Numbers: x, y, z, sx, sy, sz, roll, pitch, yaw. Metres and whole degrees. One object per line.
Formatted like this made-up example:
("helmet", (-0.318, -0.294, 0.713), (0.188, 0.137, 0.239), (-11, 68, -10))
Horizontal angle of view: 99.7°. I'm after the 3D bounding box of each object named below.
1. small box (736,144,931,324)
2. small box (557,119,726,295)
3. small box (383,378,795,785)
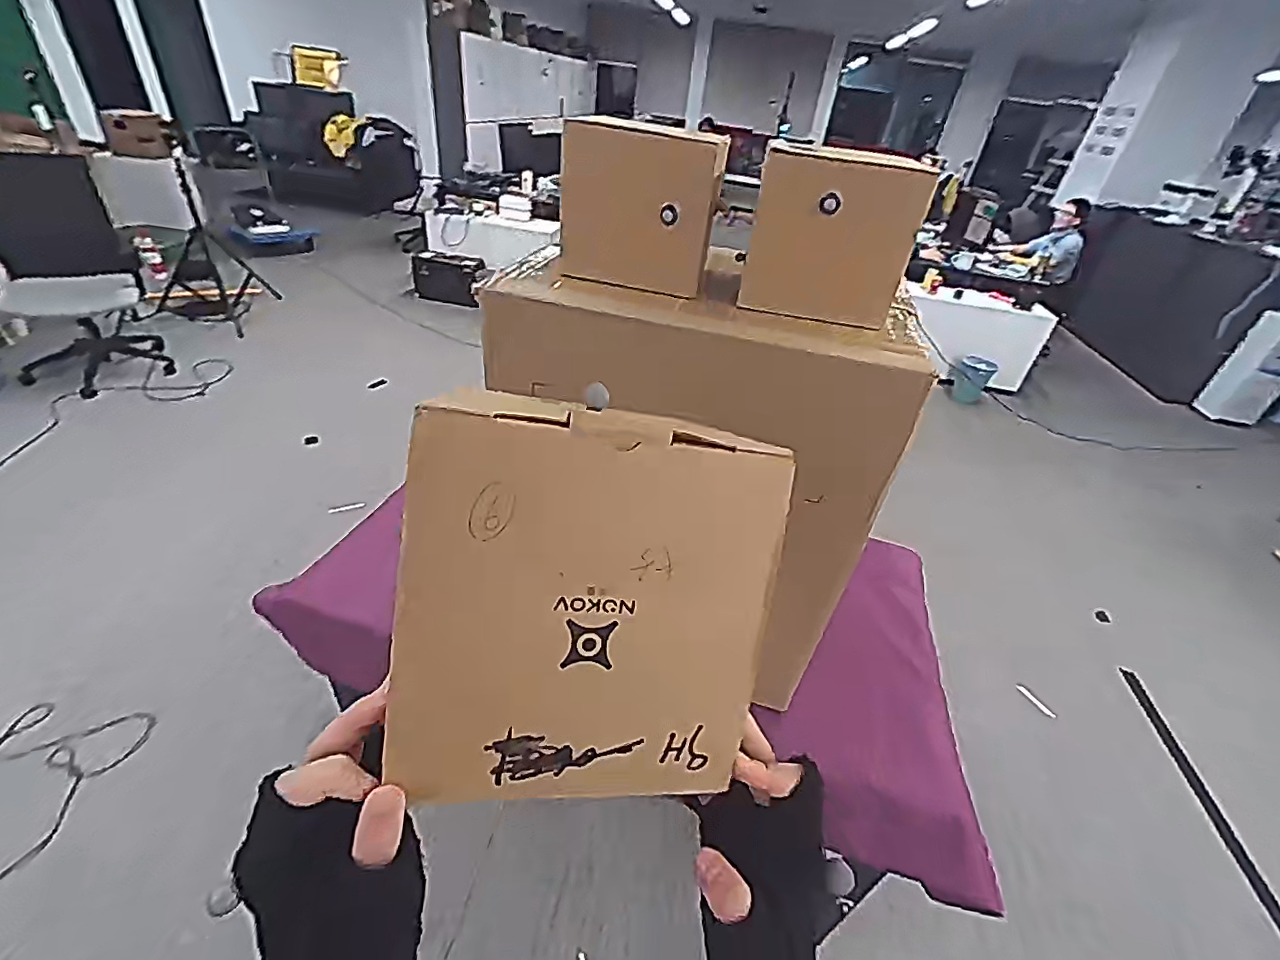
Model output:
("small box", (0.220, -0.304, 0.665), (0.179, 0.176, 0.168), (11, 36, 6))
("small box", (0.002, -0.346, 0.688), (0.179, 0.176, 0.168), (11, 35, 5))
("small box", (-0.037, 0.040, 0.314), (0.168, 0.179, 0.176), (6, 9, -14))
